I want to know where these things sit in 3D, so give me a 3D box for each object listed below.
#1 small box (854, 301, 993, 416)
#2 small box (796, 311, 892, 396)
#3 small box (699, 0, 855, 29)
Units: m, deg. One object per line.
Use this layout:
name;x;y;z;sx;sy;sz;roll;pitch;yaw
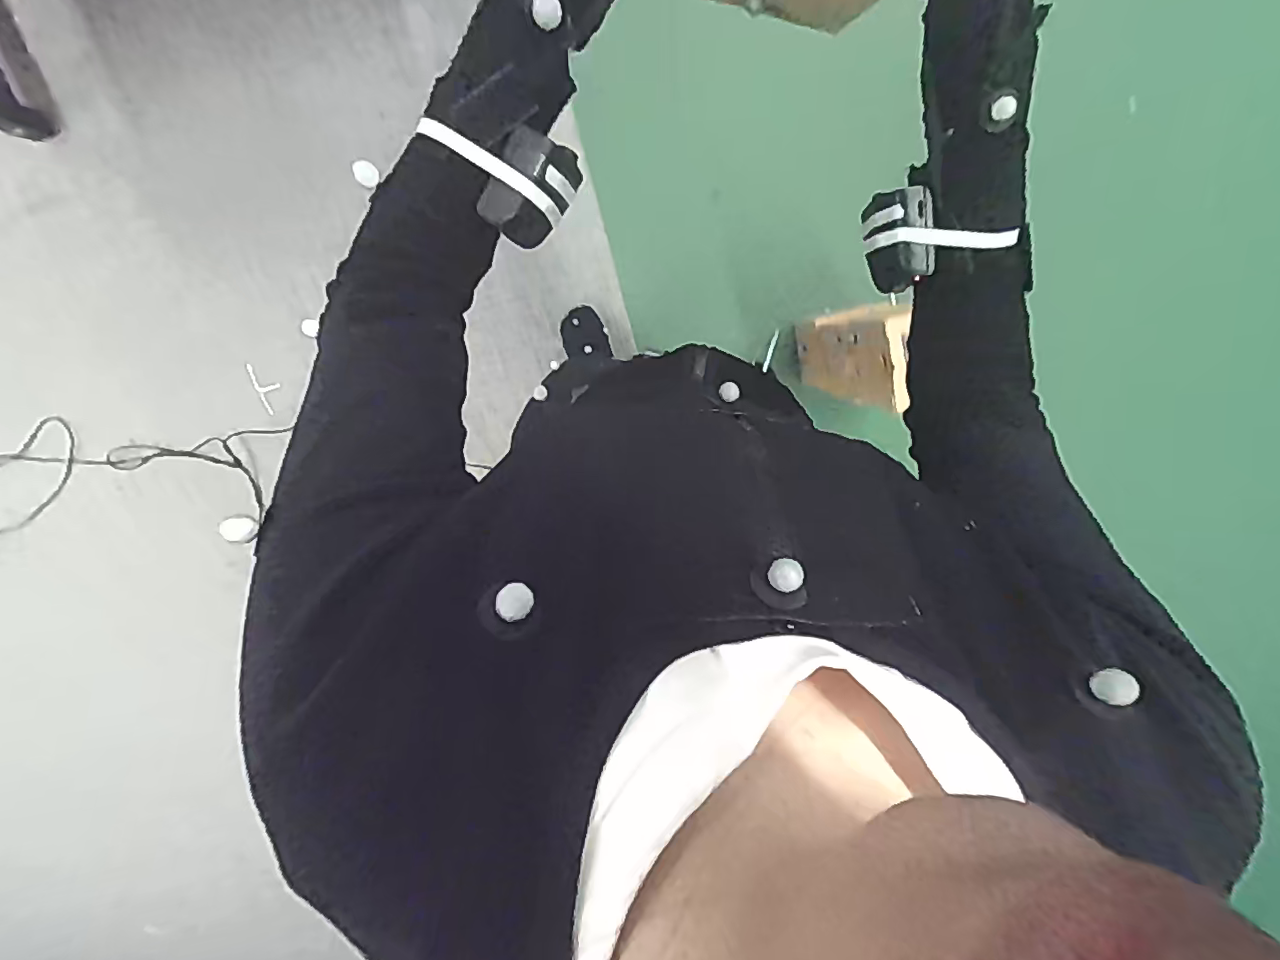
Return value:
small box;0.513;-0.226;1.004;0.179;0.176;0.168;-13;106;2
small box;0.499;-0.313;1.321;0.179;0.176;0.168;-12;105;4
small box;0.098;-0.441;0.351;0.168;0.176;0.179;9;116;-6
